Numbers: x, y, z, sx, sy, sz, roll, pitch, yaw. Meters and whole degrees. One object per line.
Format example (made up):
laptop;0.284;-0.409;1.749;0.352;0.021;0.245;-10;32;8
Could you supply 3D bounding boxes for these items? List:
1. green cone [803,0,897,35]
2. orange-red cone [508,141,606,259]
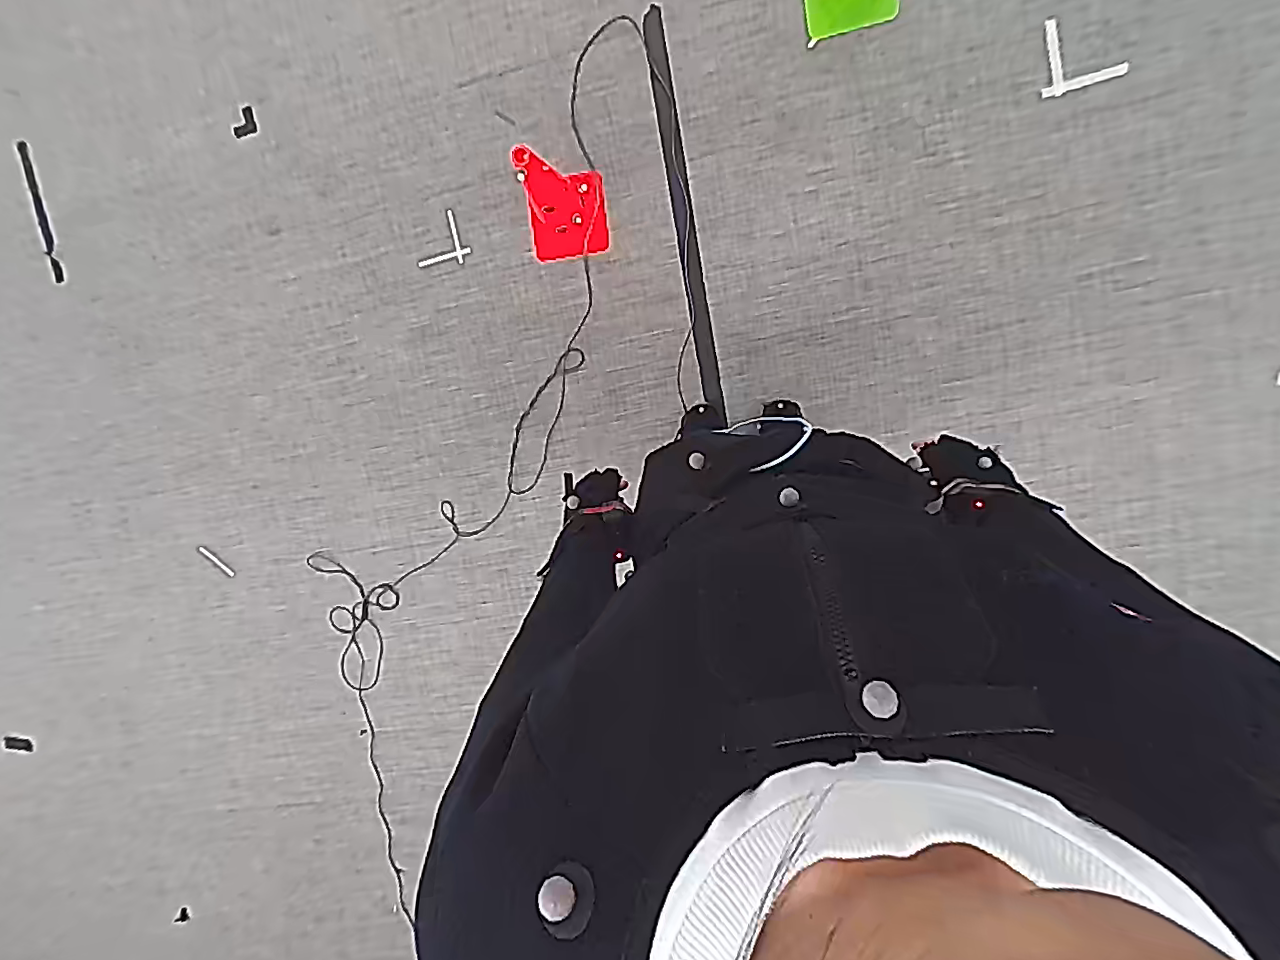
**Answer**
green cone;0.446;-1.102;1.048;0.202;0.368;0.200;-10;97;8
orange-red cone;-0.213;-0.653;1.210;0.199;0.360;0.198;-5;96;10
